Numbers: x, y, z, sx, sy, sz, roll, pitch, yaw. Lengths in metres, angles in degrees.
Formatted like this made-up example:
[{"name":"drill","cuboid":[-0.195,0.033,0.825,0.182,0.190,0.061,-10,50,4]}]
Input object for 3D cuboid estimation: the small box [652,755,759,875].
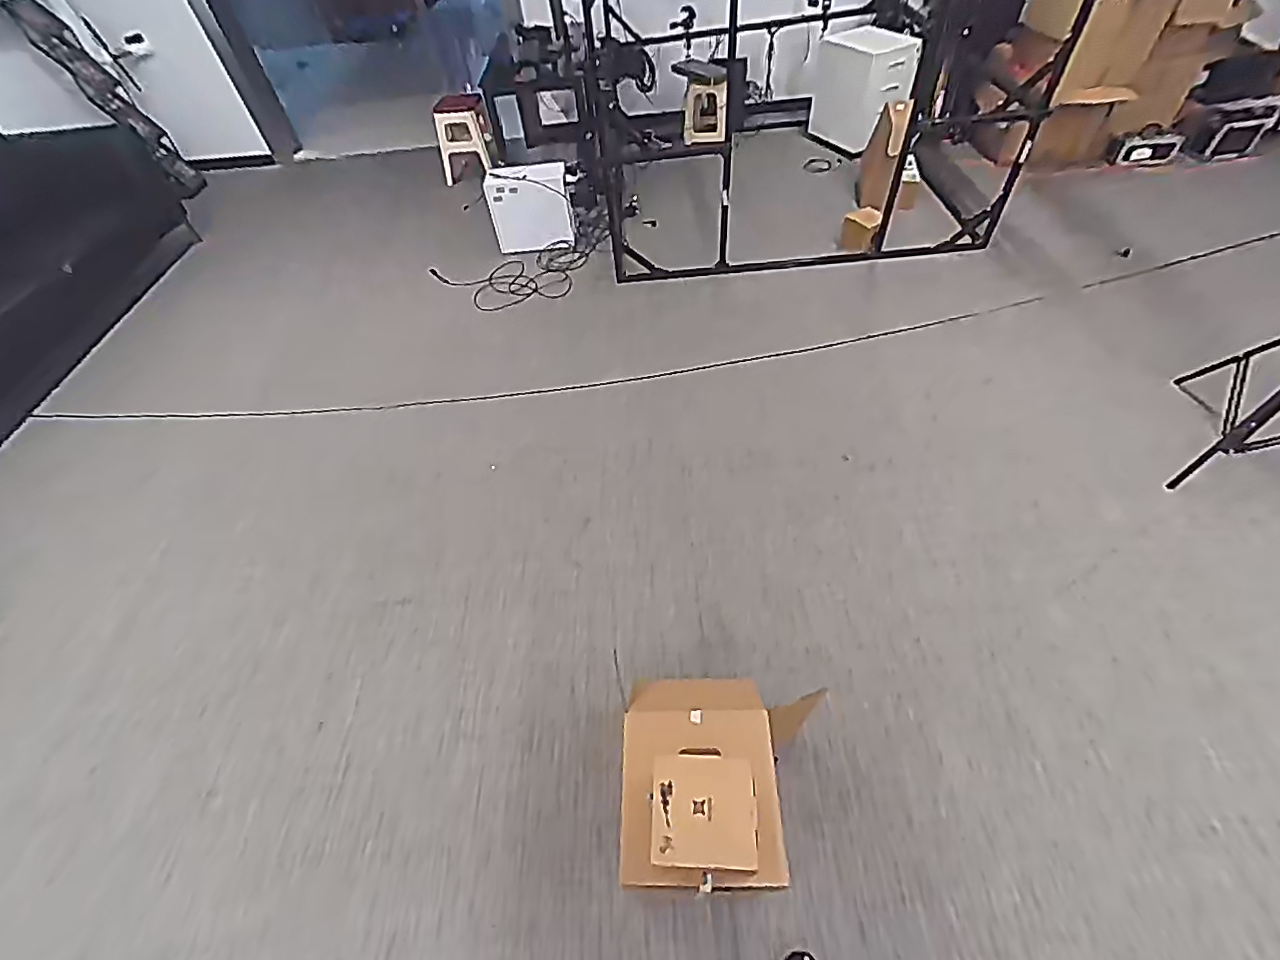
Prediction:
[{"name":"small box","cuboid":[0.116,0.614,0.986,0.179,0.176,0.168,0,52,5]}]
